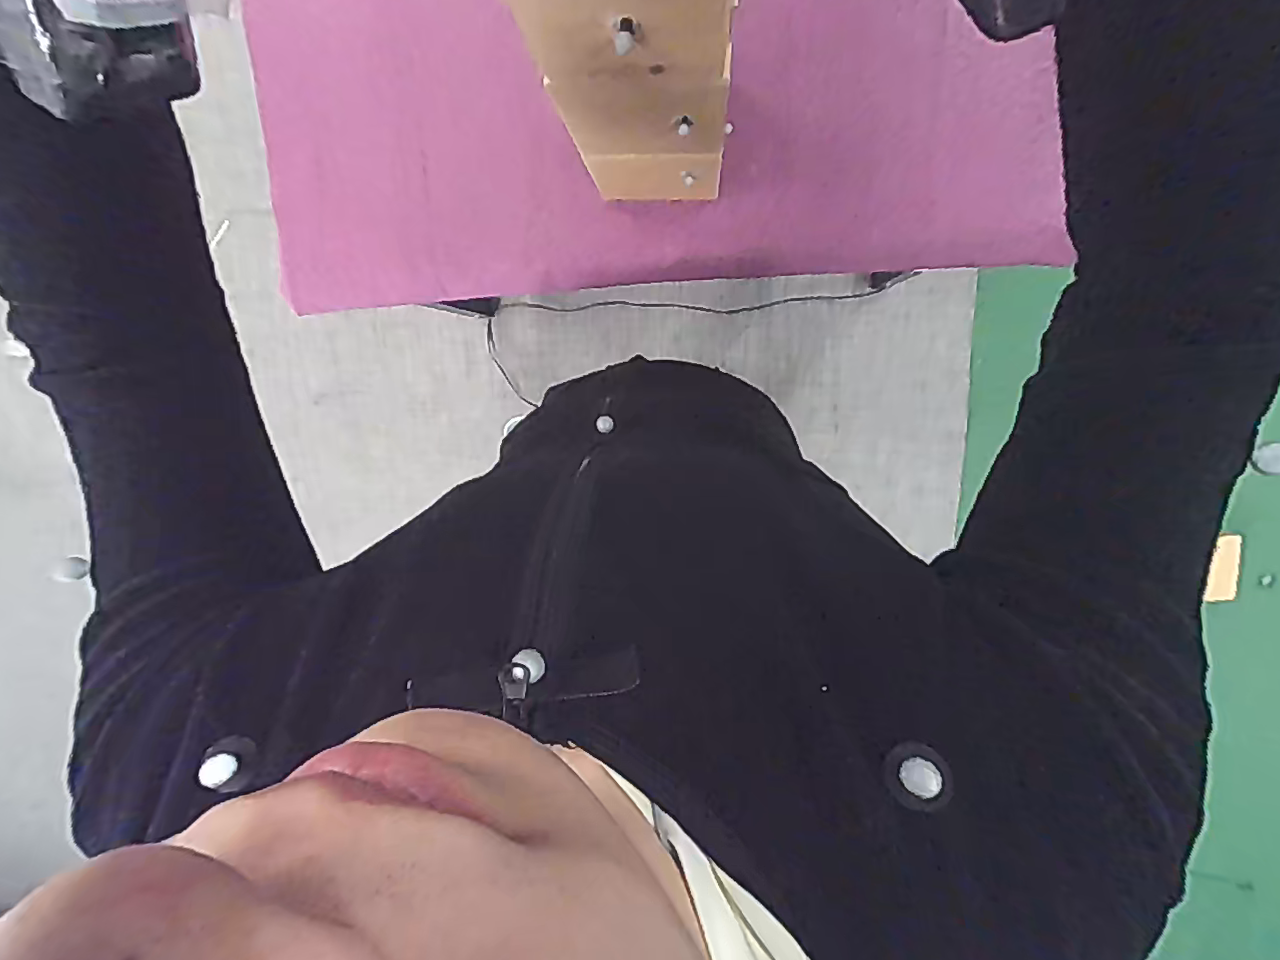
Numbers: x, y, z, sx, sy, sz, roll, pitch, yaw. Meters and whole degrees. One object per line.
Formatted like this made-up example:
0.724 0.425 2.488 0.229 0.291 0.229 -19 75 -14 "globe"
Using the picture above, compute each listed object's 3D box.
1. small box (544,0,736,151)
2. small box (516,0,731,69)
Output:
0.008 -0.464 0.561 0.179 0.176 0.168 3 101 6 "small box"
-0.010 -0.440 0.401 0.168 0.176 0.179 3 101 5 "small box"
